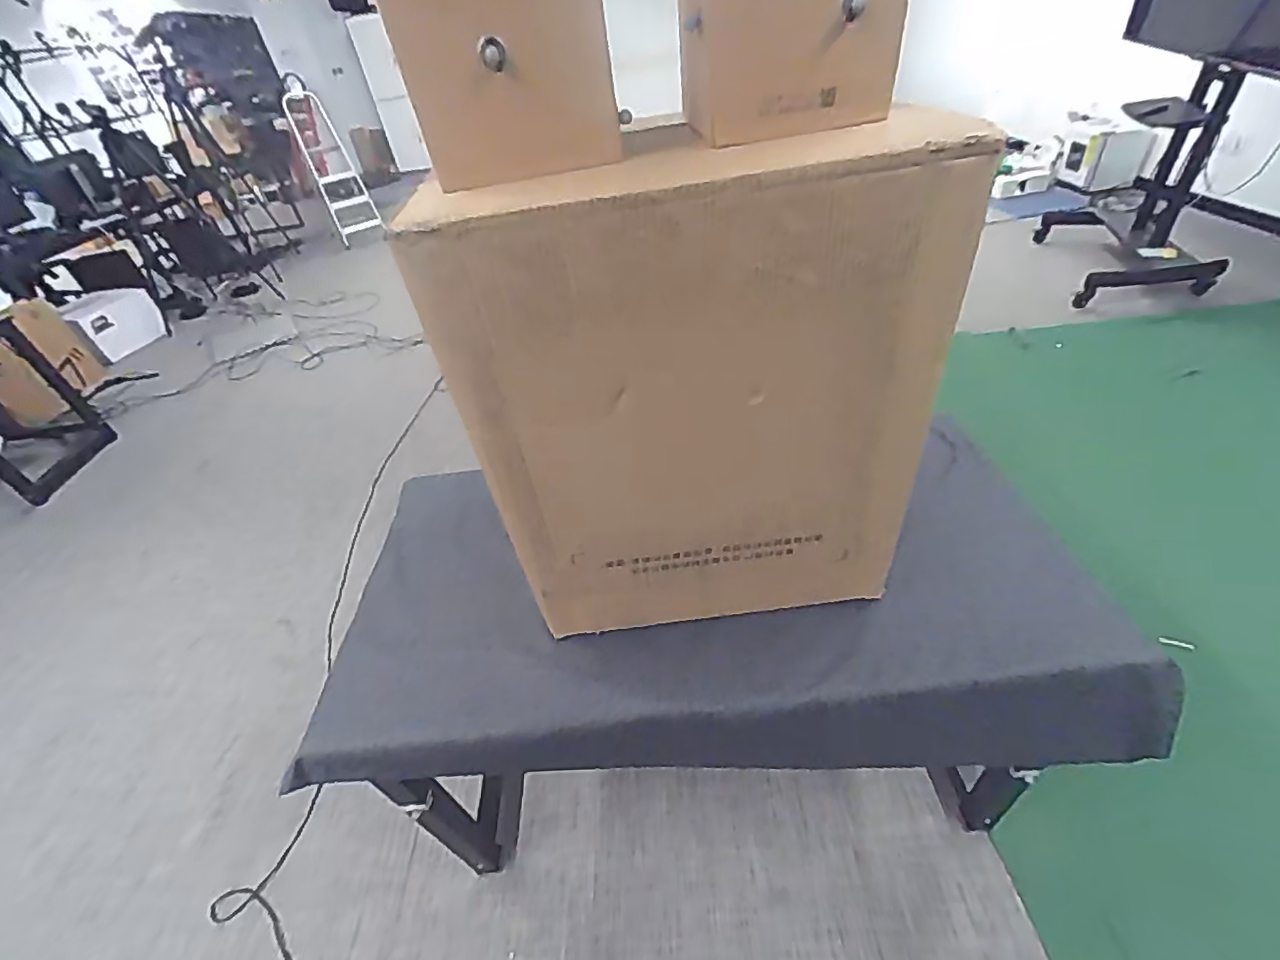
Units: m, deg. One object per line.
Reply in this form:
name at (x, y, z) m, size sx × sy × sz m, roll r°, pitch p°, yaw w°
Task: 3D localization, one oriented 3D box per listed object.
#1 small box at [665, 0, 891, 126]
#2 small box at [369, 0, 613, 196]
small box at (0.120, -0.446, 0.497) m, size 0.168 × 0.176 × 0.179 m, roll -12°, pitch 45°, yaw -3°
small box at (-0.124, -0.395, 0.514) m, size 0.179 × 0.176 × 0.168 m, roll -11°, pitch 43°, yaw 1°
